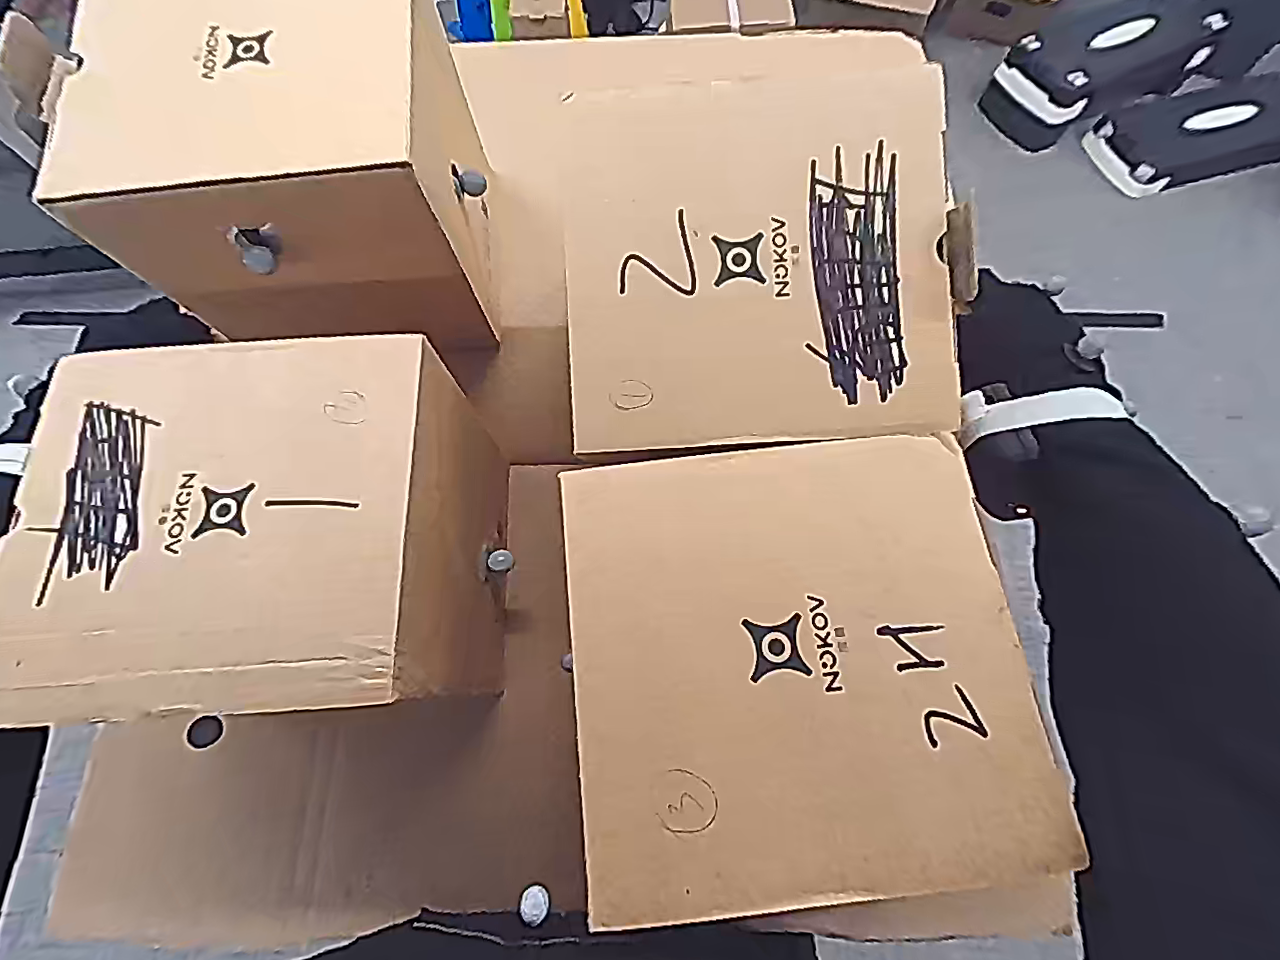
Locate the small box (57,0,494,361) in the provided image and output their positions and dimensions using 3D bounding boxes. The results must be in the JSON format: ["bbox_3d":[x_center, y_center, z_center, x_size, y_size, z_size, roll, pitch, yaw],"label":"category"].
[{"bbox_3d":[-0.201,-0.196,0.359,0.179,0.176,0.168,-6,74,0],"label":"small box"}]
